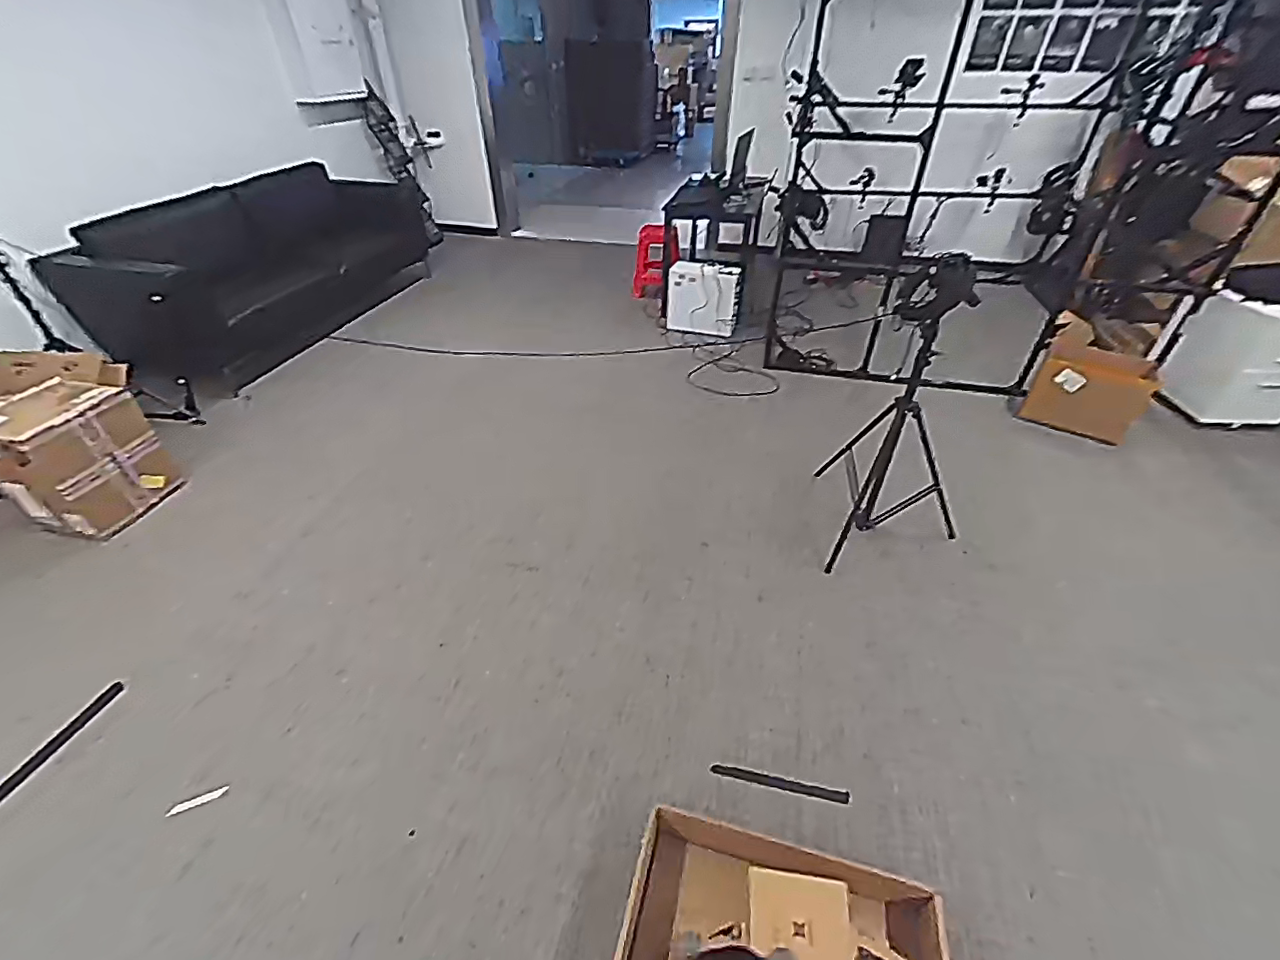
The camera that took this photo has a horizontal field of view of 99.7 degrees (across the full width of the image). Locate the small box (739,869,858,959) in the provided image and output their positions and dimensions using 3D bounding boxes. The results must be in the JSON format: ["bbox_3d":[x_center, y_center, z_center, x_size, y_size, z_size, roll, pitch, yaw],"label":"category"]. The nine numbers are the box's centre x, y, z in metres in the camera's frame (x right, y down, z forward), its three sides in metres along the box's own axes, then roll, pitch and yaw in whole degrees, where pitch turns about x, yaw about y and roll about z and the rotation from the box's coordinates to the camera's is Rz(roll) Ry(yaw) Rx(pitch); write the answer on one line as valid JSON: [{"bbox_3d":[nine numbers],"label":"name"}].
[{"bbox_3d":[0.274,0.826,0.958,0.179,0.176,0.168,4,37,6],"label":"small box"}]
